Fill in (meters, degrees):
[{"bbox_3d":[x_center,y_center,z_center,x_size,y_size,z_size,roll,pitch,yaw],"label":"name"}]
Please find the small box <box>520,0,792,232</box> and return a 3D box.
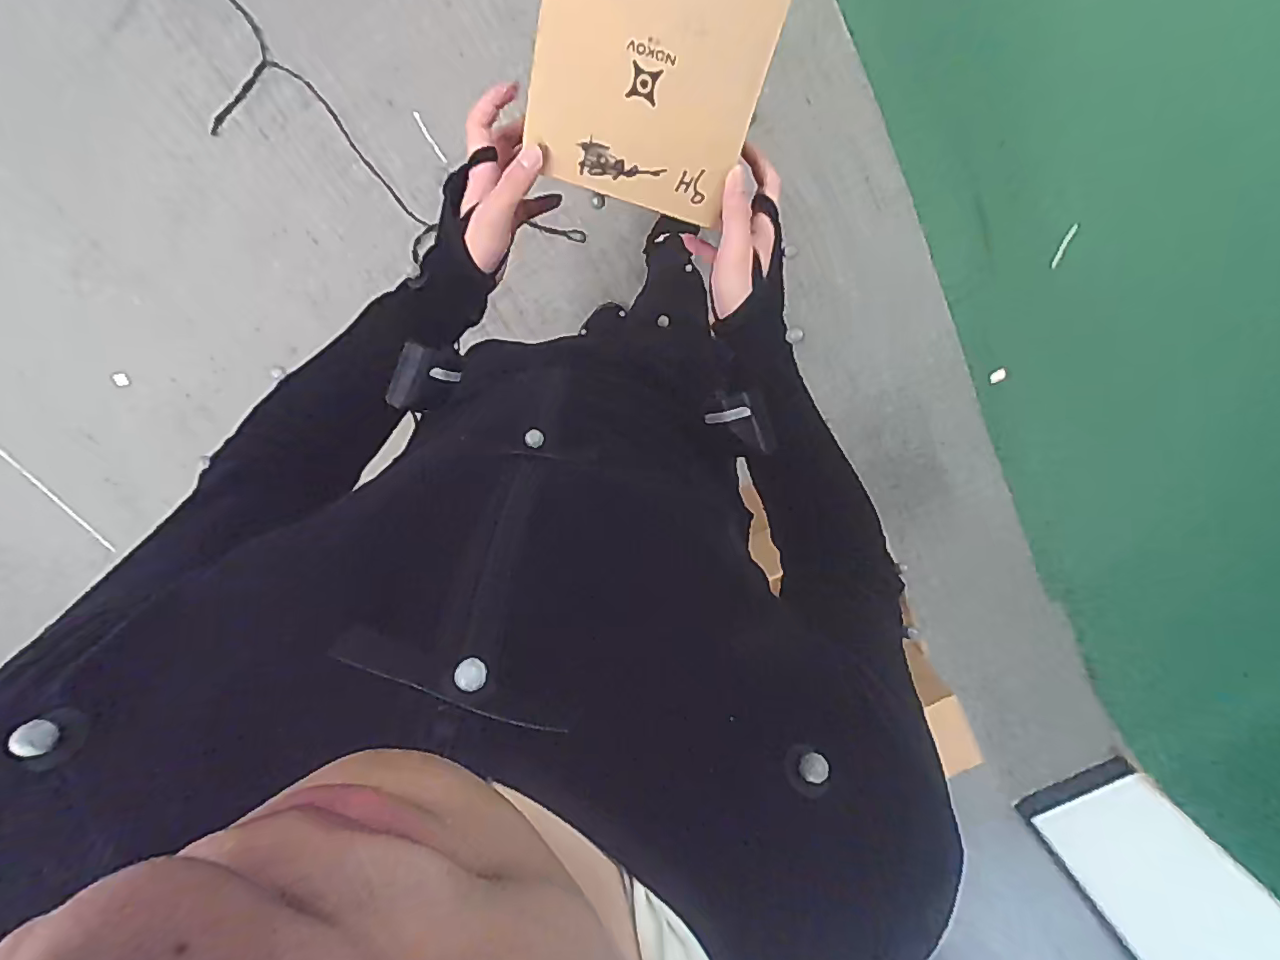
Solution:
[{"bbox_3d":[0.009,-0.335,0.457,0.168,0.176,0.179,15,122,-6],"label":"small box"}]
